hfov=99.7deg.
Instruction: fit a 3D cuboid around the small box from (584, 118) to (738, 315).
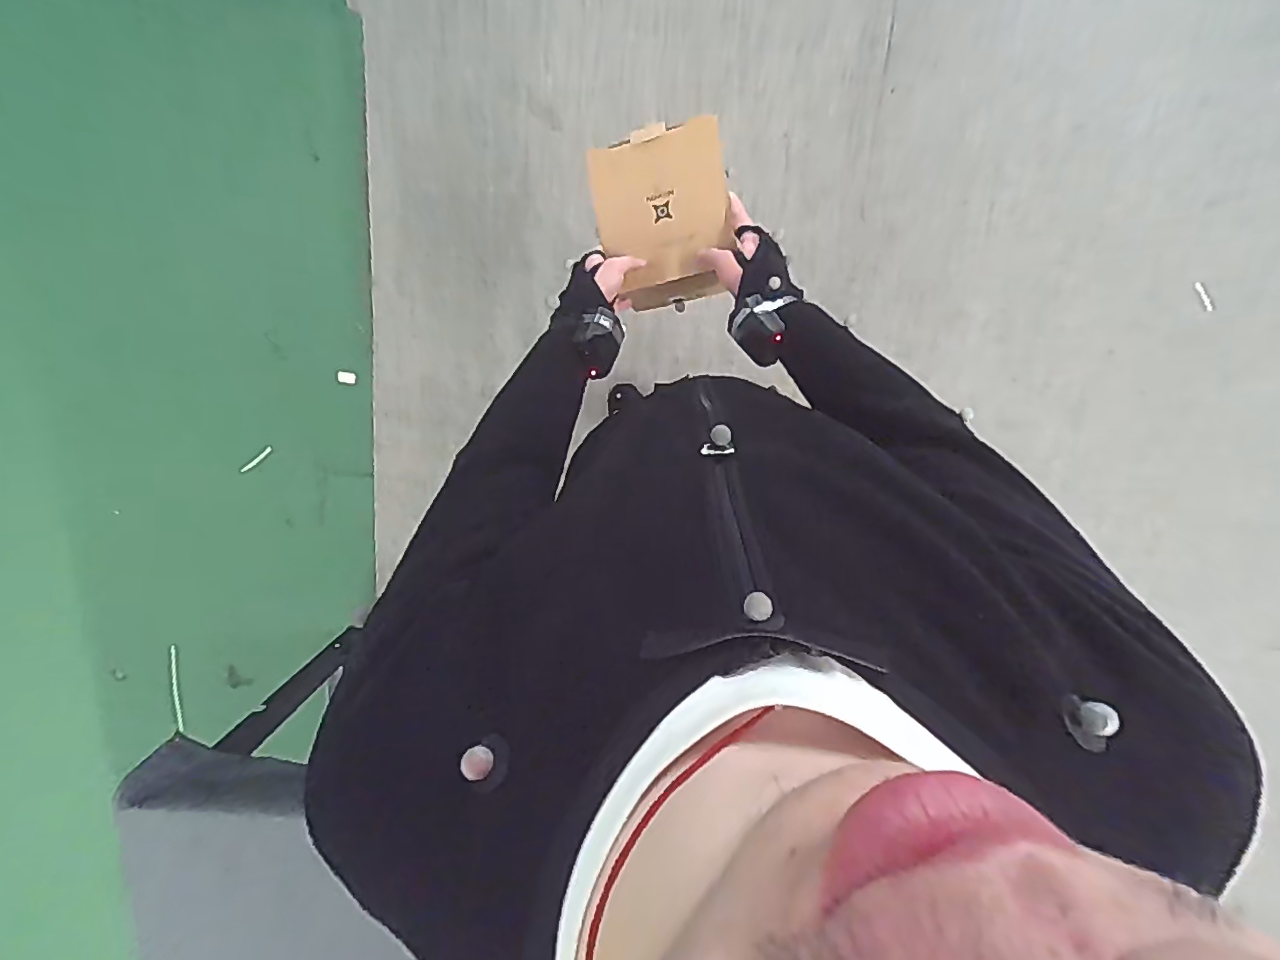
[{"bbox_3d":[0.038,-0.336,0.729,0.168,0.176,0.179,-7,97,14],"label":"small box"}]
